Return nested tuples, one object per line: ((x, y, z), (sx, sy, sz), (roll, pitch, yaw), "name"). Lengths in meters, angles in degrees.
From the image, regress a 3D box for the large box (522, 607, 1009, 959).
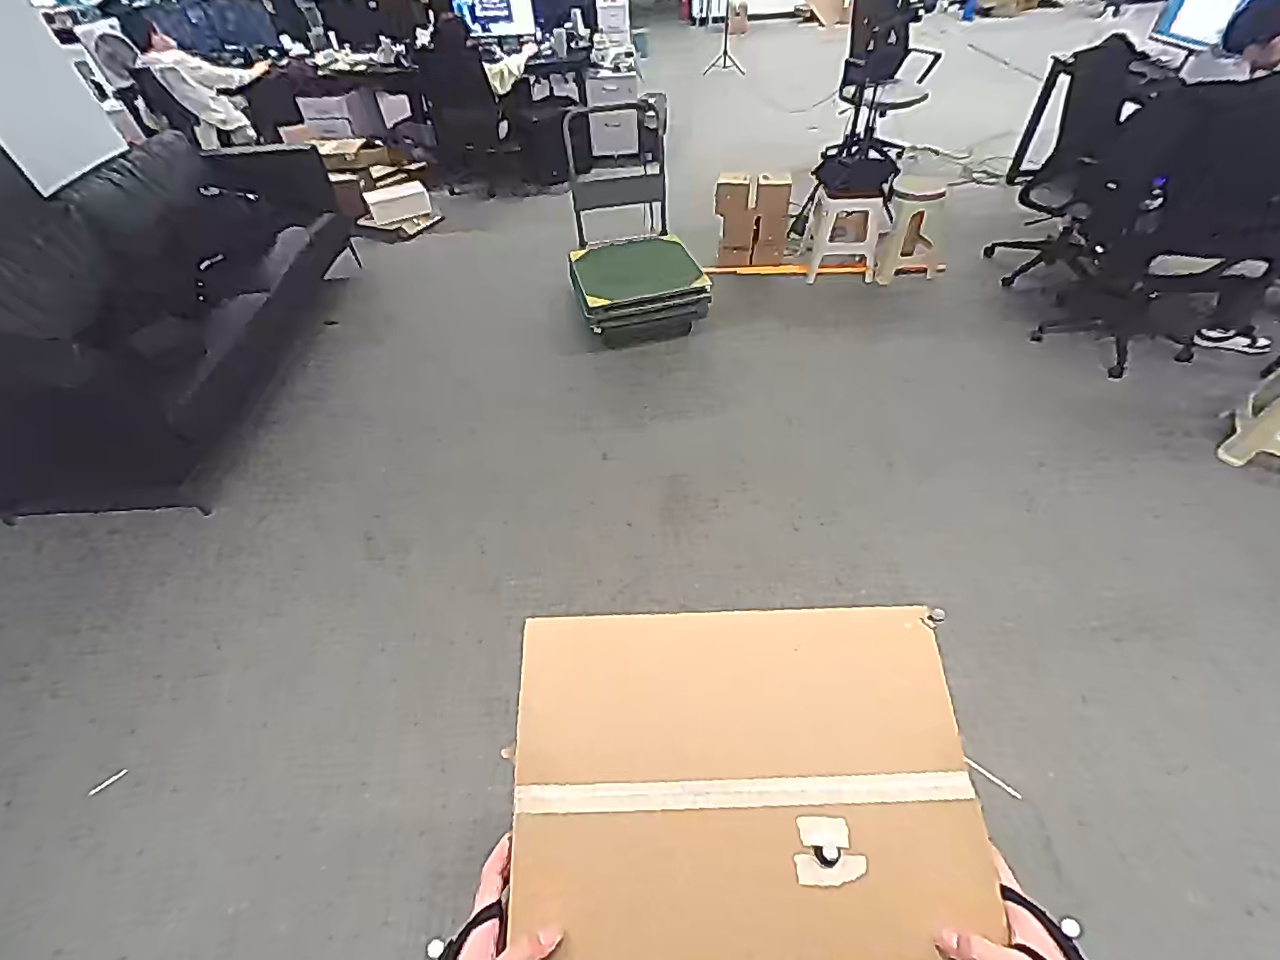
((0.095, 0.343, 0.627), (0.408, 0.320, 0.320), (-3, 66, 0), "large box")
